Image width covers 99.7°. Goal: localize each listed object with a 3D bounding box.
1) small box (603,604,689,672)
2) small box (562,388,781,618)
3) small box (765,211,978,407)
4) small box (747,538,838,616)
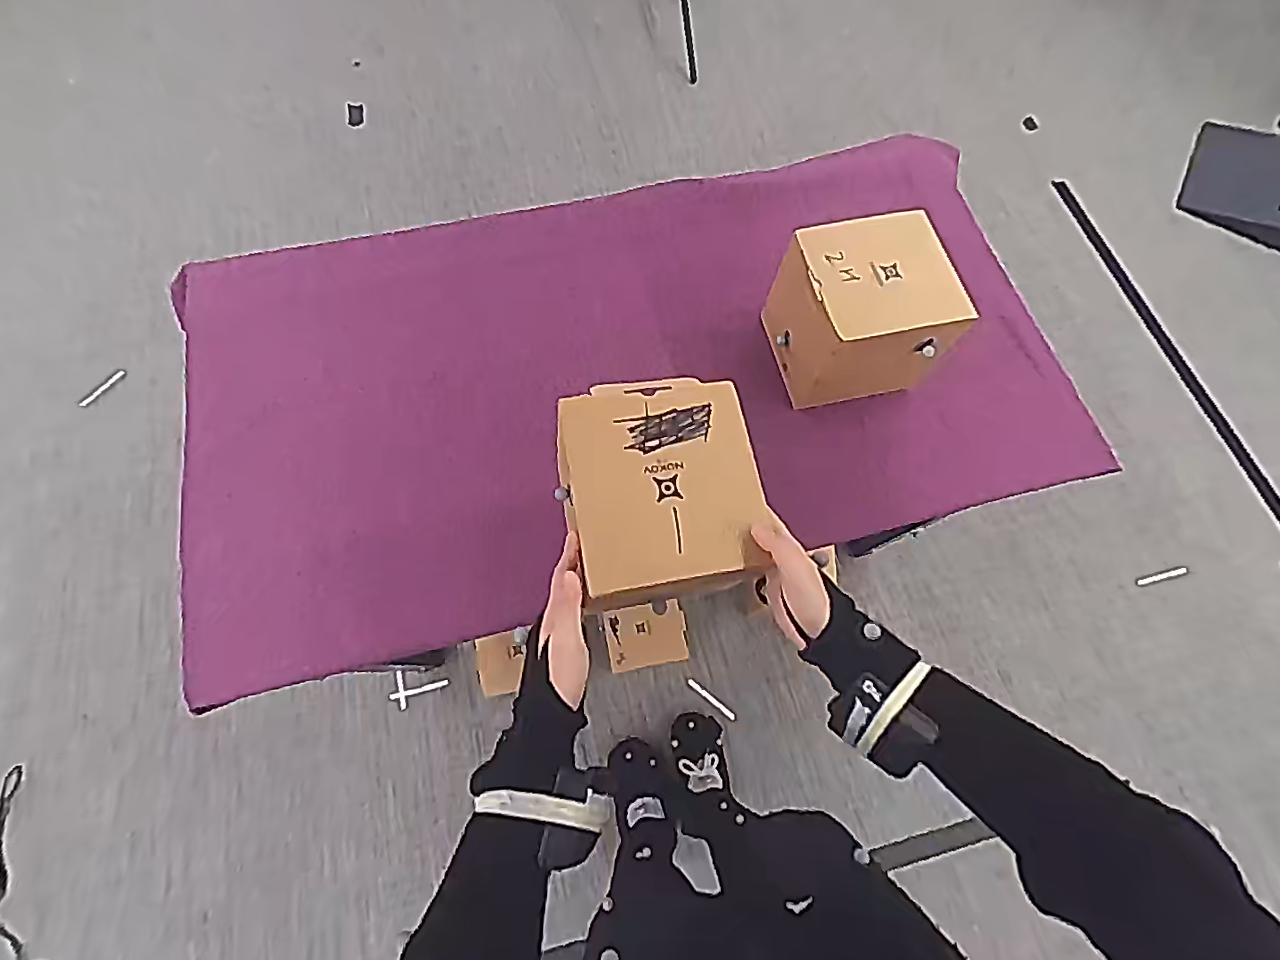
[{"bbox_3d":[0.007,0.352,1.278,0.179,0.176,0.168,-9,72,-5],"label":"small box"},{"bbox_3d":[0.014,0.030,0.536,0.168,0.176,0.179,-8,73,-10],"label":"small box"},{"bbox_3d":[0.286,-0.215,0.712,0.179,0.176,0.168,-12,71,-5],"label":"small box"},{"bbox_3d":[0.367,0.243,1.330,0.179,0.176,0.168,3,71,0],"label":"small box"}]
